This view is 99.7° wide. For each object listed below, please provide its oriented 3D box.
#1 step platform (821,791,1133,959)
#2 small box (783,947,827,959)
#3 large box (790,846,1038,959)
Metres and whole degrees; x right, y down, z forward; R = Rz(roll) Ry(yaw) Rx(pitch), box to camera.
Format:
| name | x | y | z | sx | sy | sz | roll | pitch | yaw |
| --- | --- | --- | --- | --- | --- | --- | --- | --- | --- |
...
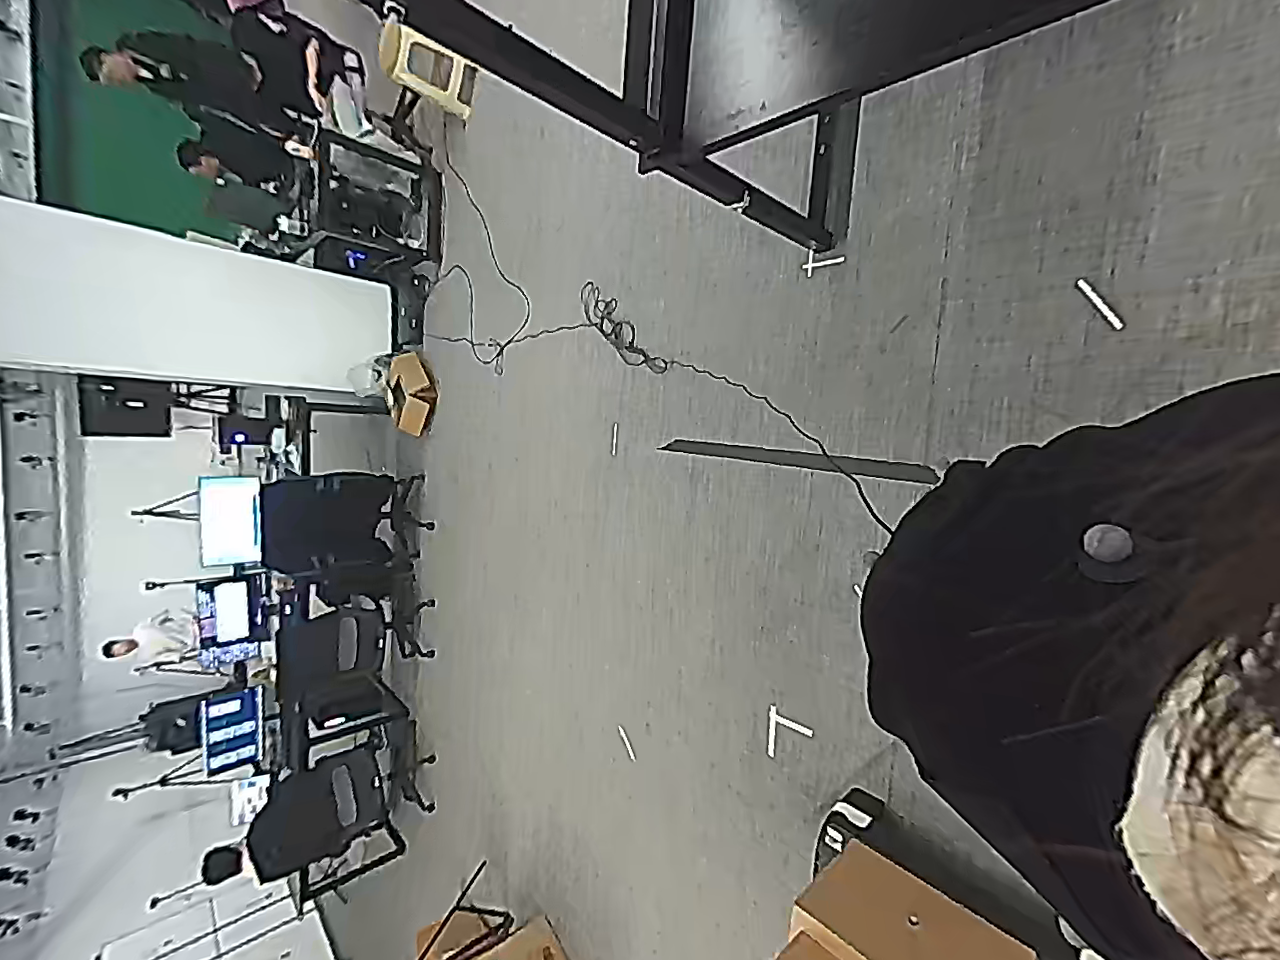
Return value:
| name | x | y | z | sx | sy | sz | roll | pitch | yaw |
| --- | --- | --- | --- | --- | --- | --- | --- | --- | --- |
| step platform | 0.784 | 1.097 | 1.293 | 0.684 | 0.204 | 0.286 | 18 | 104 | 44 |
| small box | 0.339 | 1.077 | 1.059 | 0.179 | 0.176 | 0.168 | 11 | 98 | 45 |
| large box | 0.573 | 1.112 | 1.170 | 0.408 | 0.320 | 0.320 | 10 | 99 | 45 |
